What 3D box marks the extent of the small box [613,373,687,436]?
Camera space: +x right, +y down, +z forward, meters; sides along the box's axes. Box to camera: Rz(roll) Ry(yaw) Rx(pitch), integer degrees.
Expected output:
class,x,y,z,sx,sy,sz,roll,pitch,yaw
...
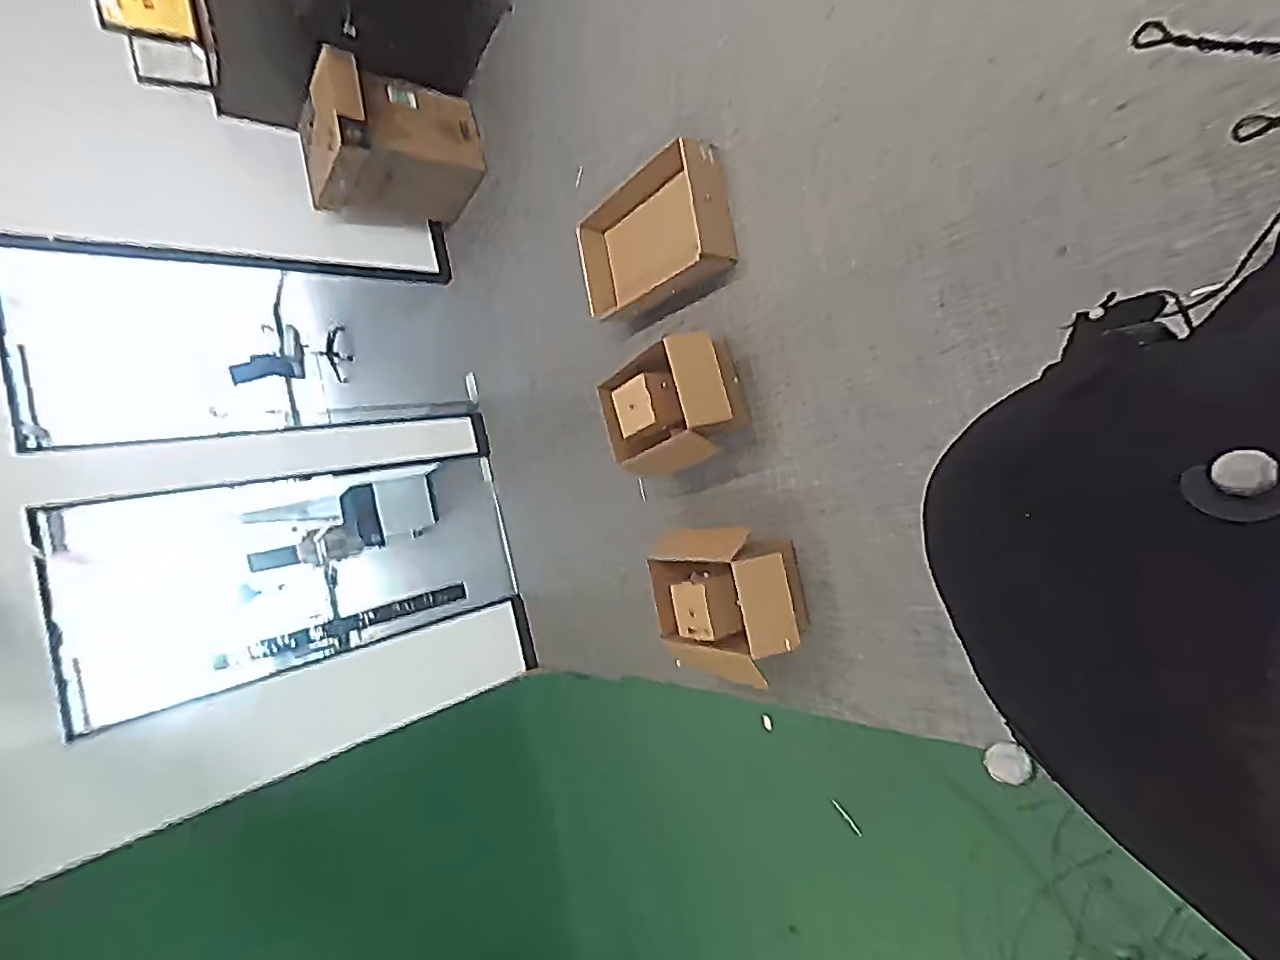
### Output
class,x,y,z,sx,sy,sz,roll,pitch,yaw
small box,0.039,-0.259,1.842,0.179,0.176,0.168,-24,80,49
